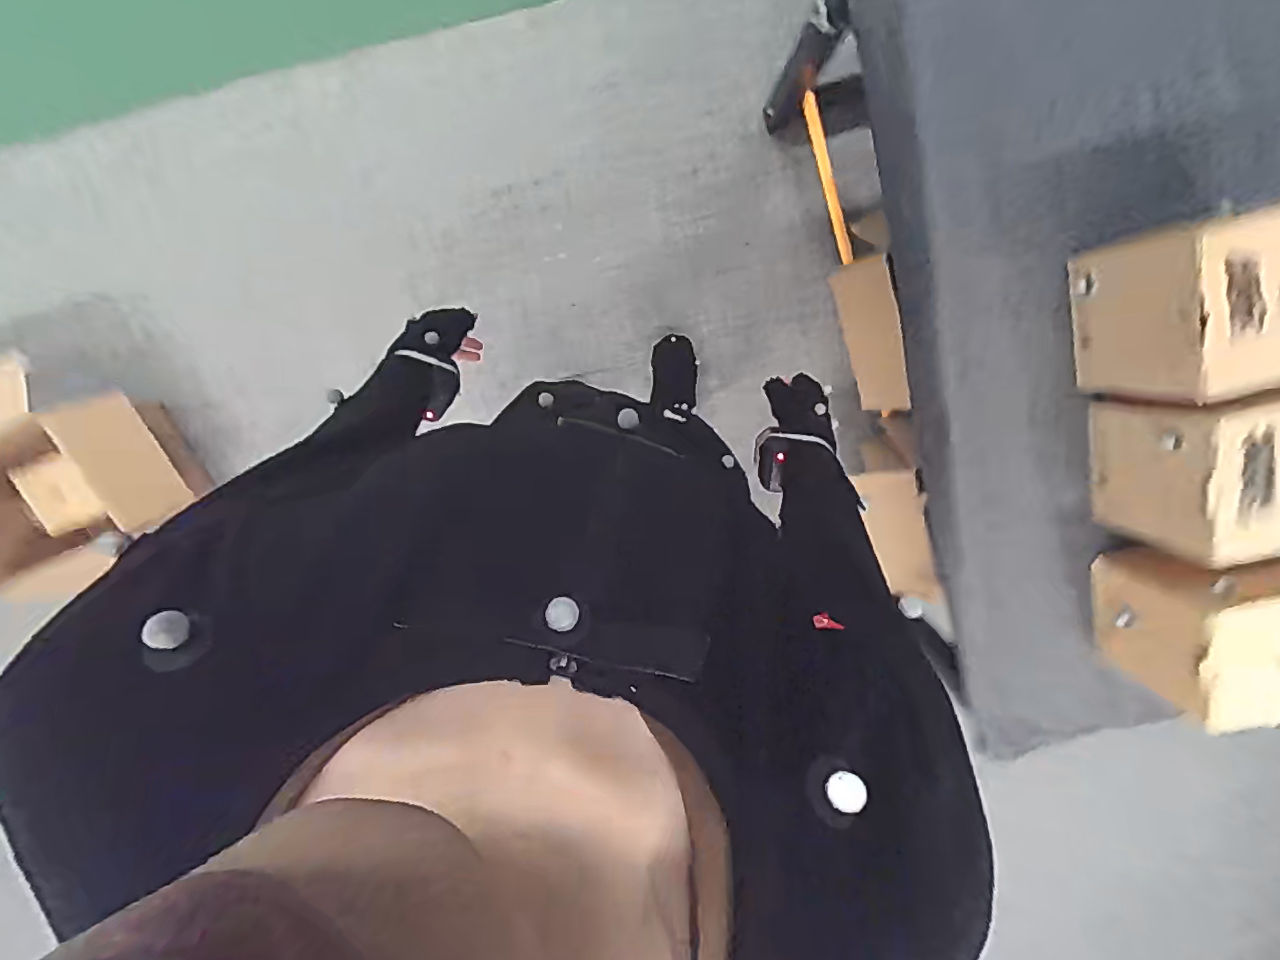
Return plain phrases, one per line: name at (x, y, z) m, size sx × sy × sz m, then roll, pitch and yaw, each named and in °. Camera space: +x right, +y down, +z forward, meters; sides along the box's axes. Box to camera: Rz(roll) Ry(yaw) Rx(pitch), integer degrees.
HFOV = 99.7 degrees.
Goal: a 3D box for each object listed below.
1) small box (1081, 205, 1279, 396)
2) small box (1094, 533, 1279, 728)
small box at (0.636, -0.200, 0.604) m, size 0.179 × 0.176 × 0.168 m, roll -15°, pitch 105°, yaw 4°
small box at (0.747, 0.184, 0.705) m, size 0.179 × 0.176 × 0.168 m, roll -14°, pitch 104°, yaw 5°
